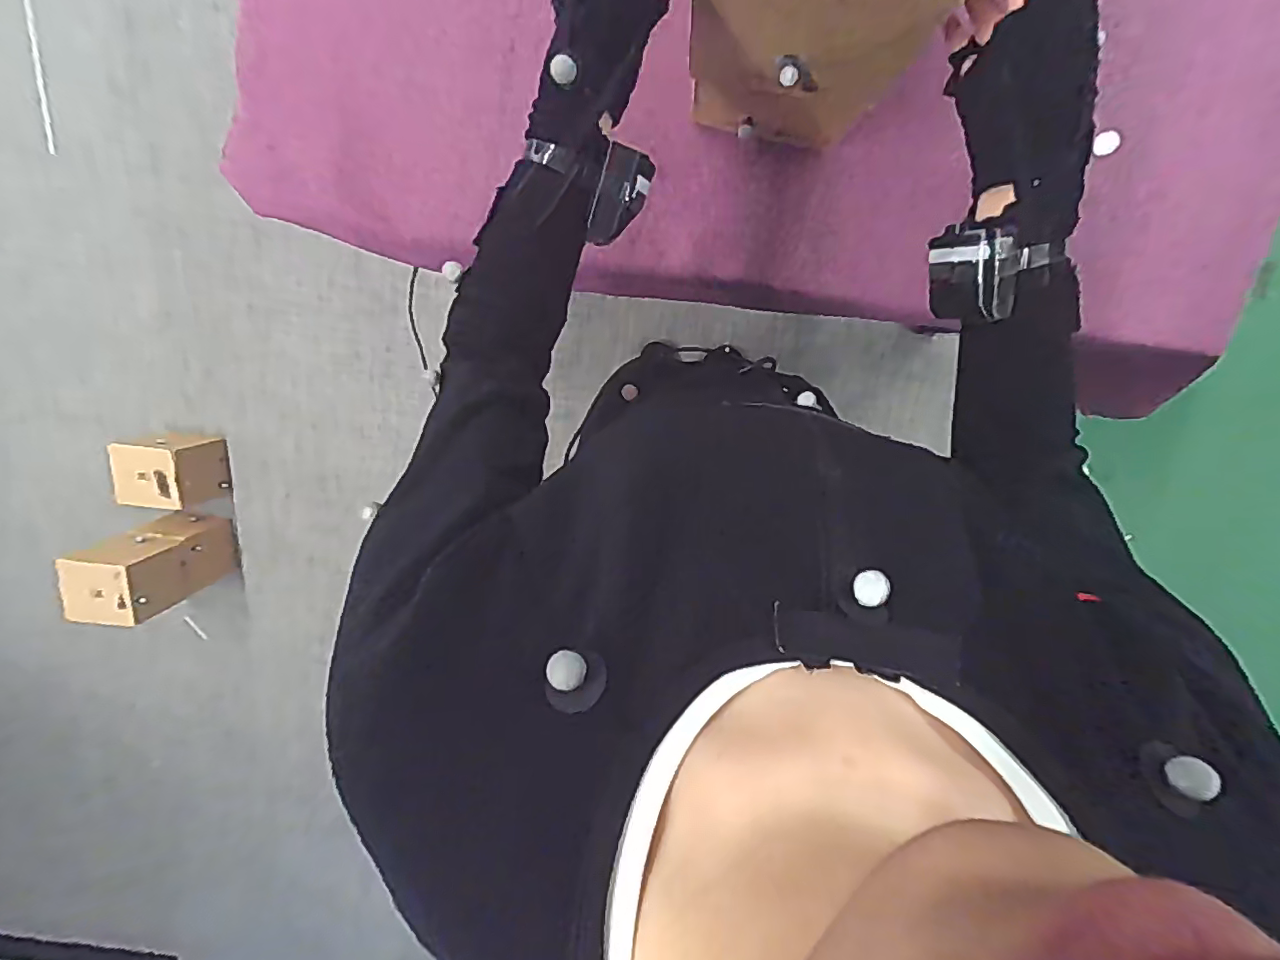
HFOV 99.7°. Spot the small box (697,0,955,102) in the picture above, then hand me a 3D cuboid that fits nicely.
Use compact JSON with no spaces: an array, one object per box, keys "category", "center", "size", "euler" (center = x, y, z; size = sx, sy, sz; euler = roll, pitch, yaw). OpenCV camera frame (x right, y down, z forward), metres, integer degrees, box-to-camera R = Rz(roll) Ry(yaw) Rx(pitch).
[{"category":"small box","center":[0.136,-0.408,0.375],"size":[0.168,0.176,0.179],"euler":[12,105,1]}]

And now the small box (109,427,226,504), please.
[{"category":"small box","center":[-1.264,-0.044,1.466],"size":[0.179,0.176,0.168],"euler":[7,105,2]}]

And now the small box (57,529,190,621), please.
[{"category":"small box","center":[-1.302,0.233,1.375],"size":[0.179,0.176,0.168],"euler":[8,105,2]}]

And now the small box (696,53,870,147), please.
[{"category":"small box","center":[0.153,-0.464,0.529],"size":[0.168,0.176,0.179],"euler":[13,106,0]}]
